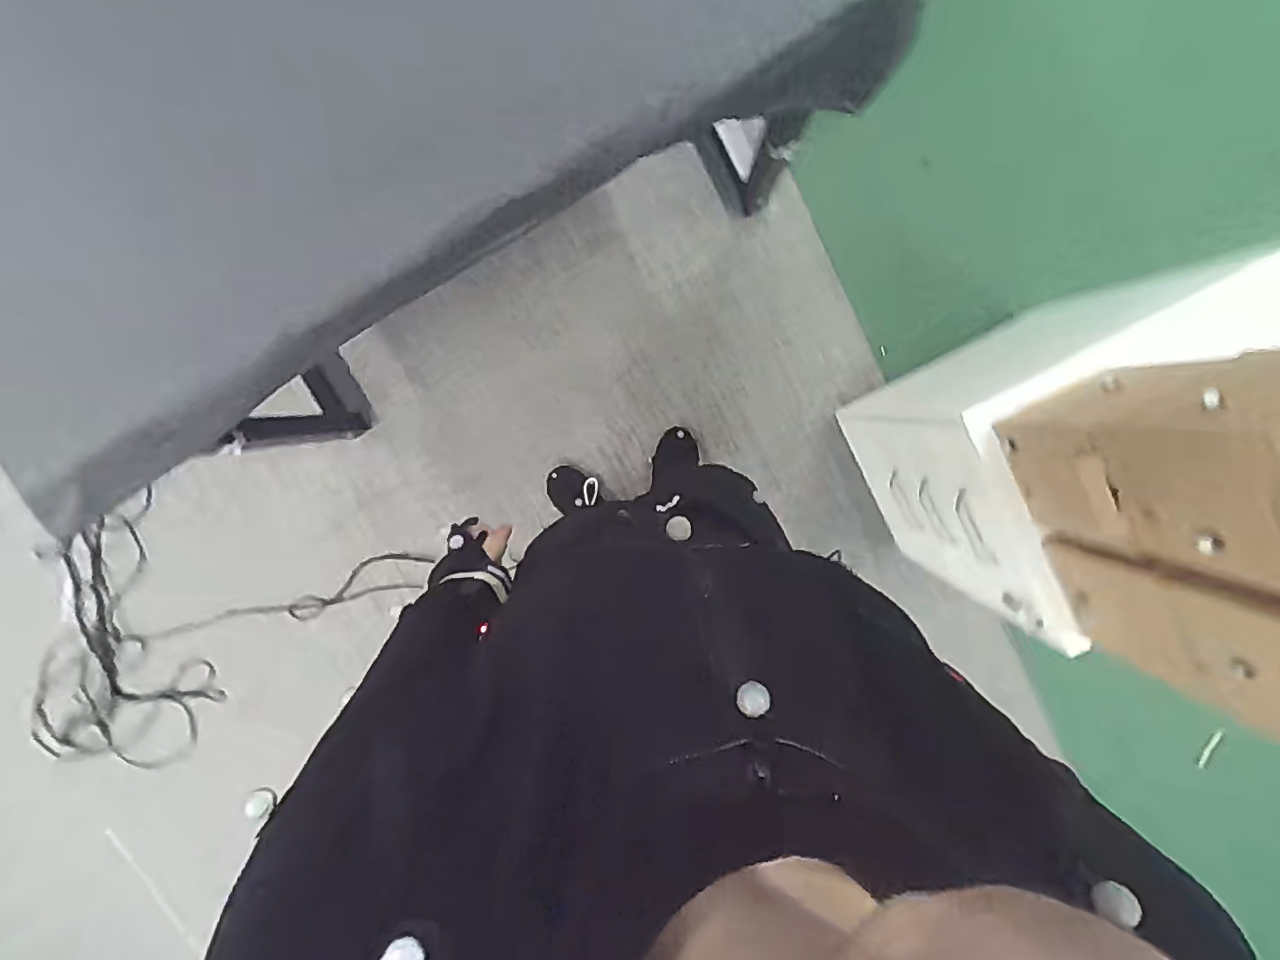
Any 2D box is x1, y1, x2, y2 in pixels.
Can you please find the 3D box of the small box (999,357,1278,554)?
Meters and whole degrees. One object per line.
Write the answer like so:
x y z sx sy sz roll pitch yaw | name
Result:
0.590 -0.034 0.670 0.179 0.176 0.168 -27 97 4 | small box
